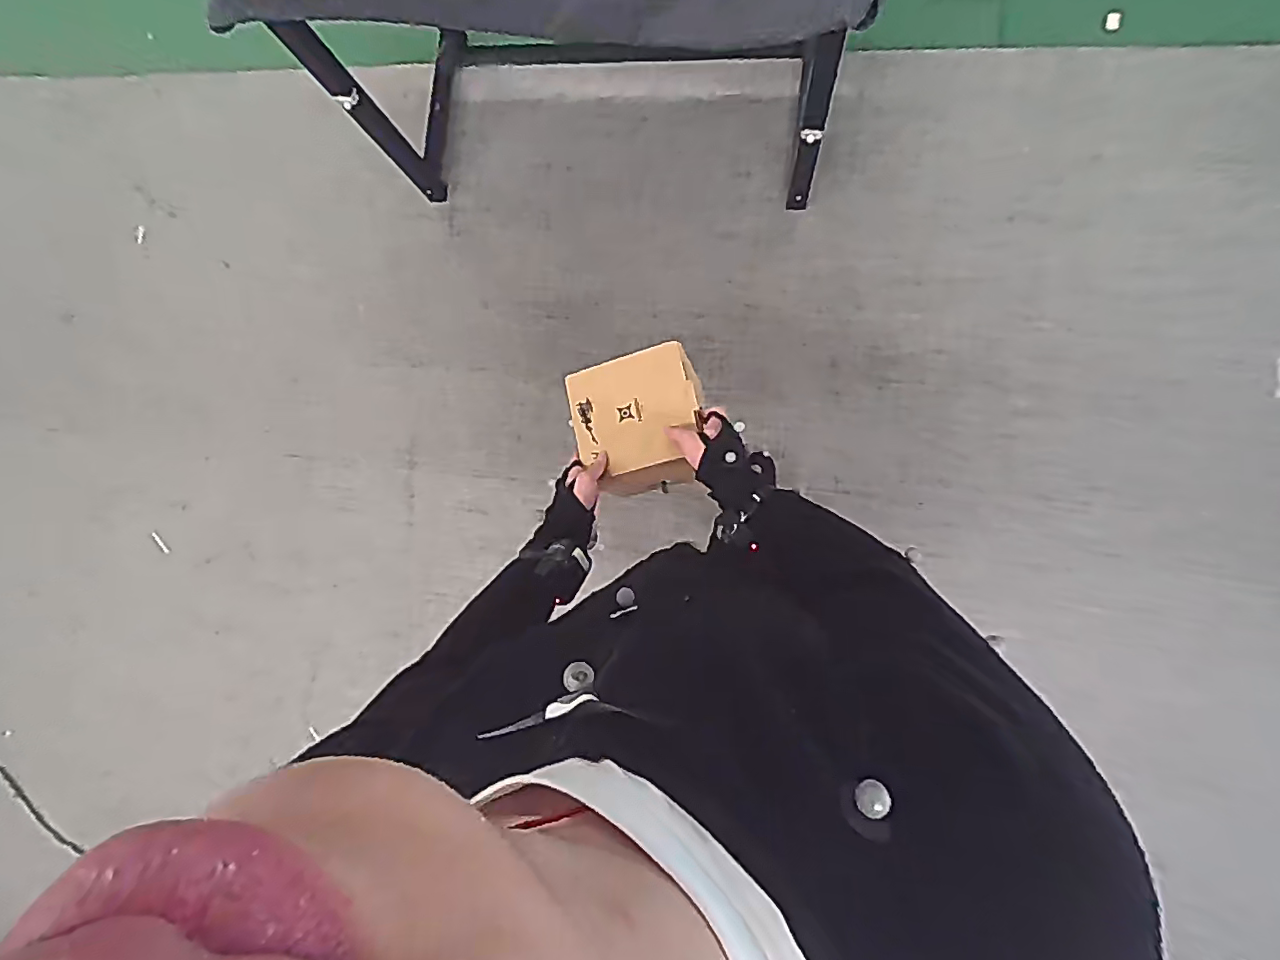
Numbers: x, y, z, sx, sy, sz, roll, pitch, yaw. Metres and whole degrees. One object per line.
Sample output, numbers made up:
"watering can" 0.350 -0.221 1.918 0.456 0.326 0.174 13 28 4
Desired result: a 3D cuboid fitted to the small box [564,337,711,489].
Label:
"small box" 0.006 -0.092 0.828 0.179 0.176 0.168 -15 78 12
